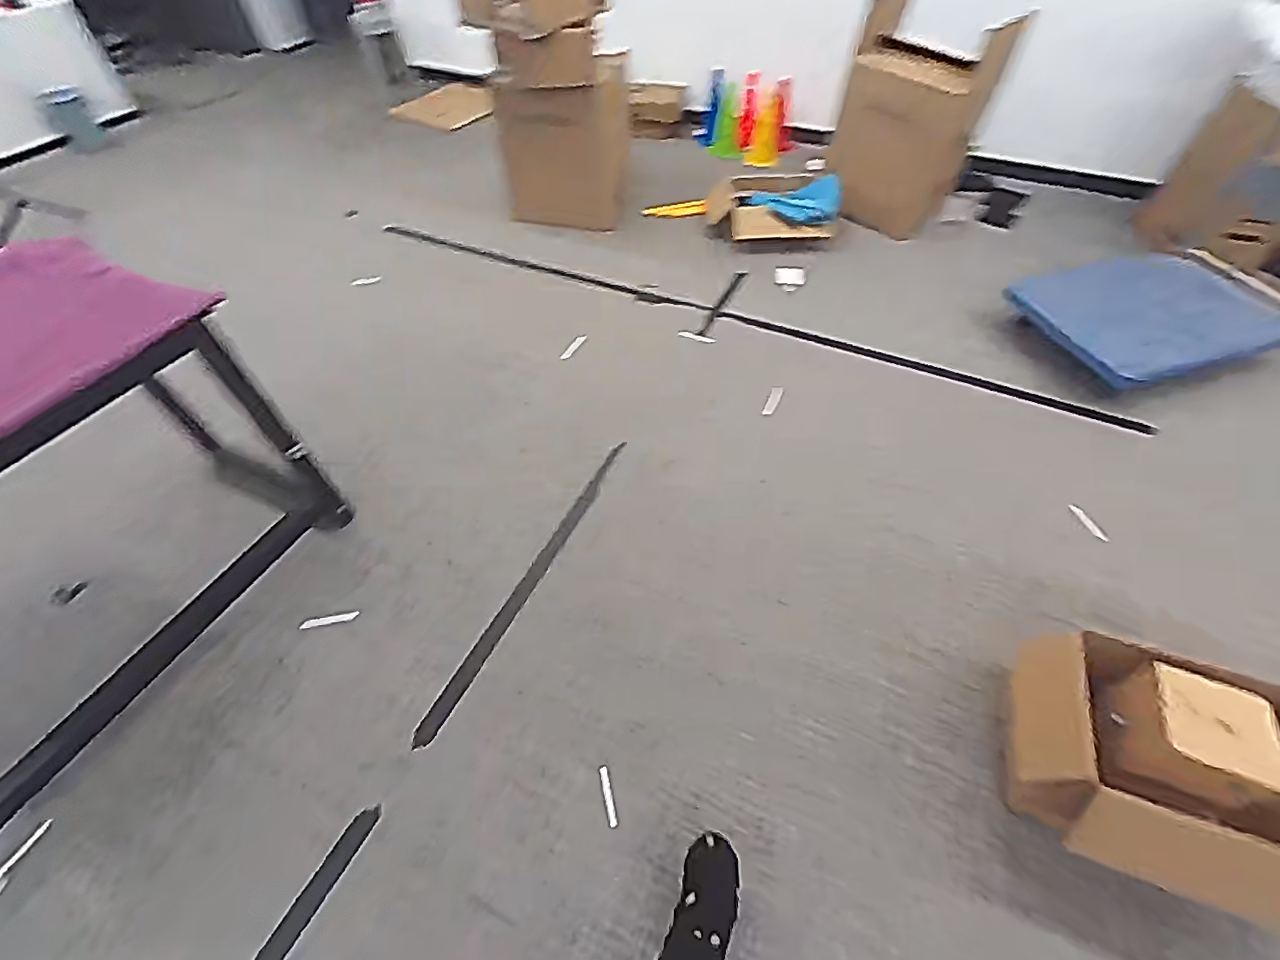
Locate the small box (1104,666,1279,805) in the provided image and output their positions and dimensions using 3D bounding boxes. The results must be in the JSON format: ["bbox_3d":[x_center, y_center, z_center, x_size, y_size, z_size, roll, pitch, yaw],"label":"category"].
[{"bbox_3d":[1.026,0.483,1.012,0.179,0.176,0.168,19,53,16],"label":"small box"}]
